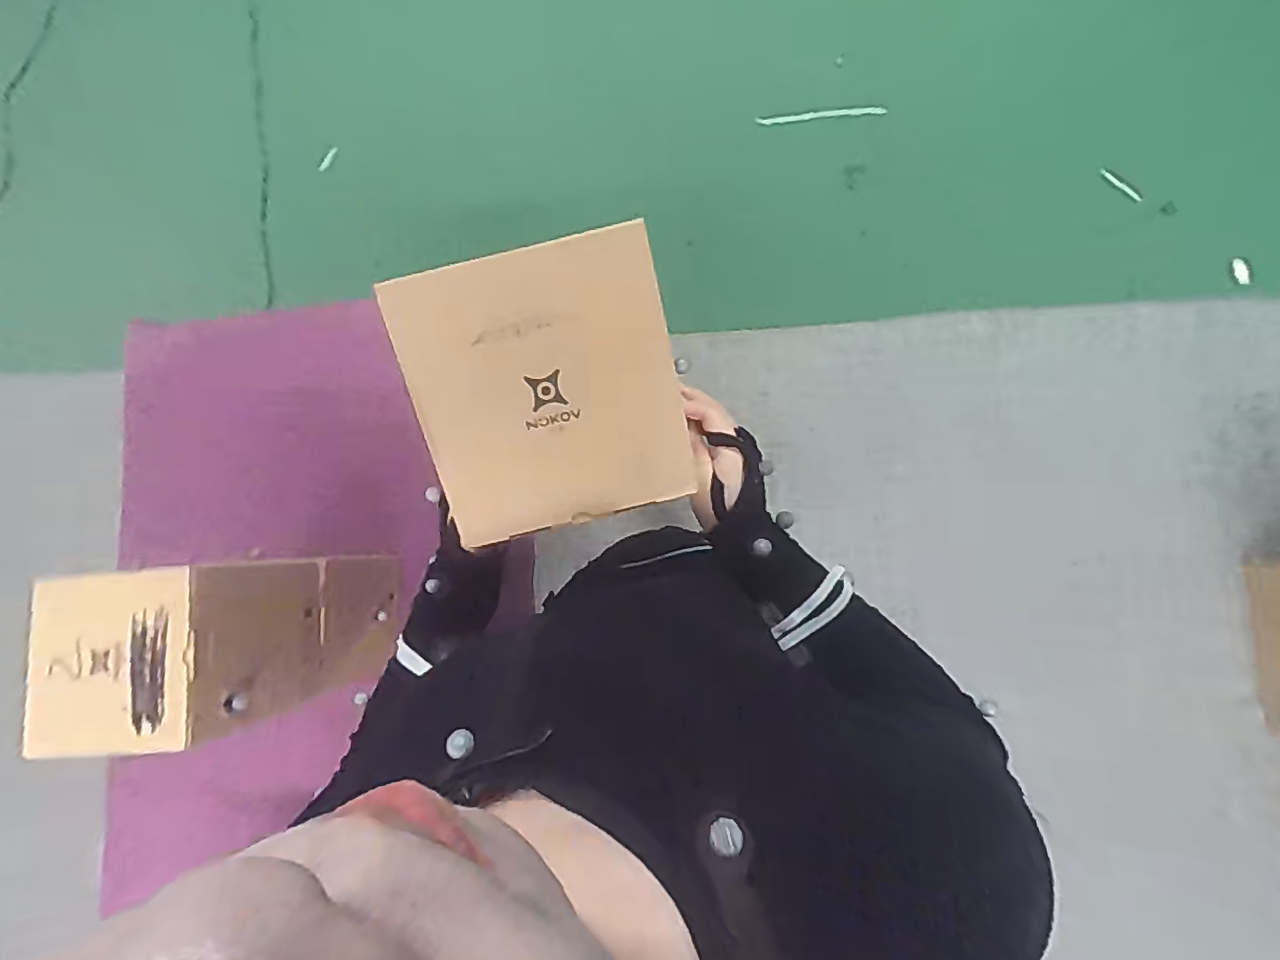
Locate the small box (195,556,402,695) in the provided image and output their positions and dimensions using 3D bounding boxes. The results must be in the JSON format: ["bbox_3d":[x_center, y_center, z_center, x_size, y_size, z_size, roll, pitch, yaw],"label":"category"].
[{"bbox_3d":[-0.461,0.193,0.752,0.179,0.176,0.168,-3,83,7],"label":"small box"}]

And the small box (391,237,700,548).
[{"bbox_3d":[-0.056,-0.071,0.420,0.168,0.176,0.179,-12,106,1],"label":"small box"}]
